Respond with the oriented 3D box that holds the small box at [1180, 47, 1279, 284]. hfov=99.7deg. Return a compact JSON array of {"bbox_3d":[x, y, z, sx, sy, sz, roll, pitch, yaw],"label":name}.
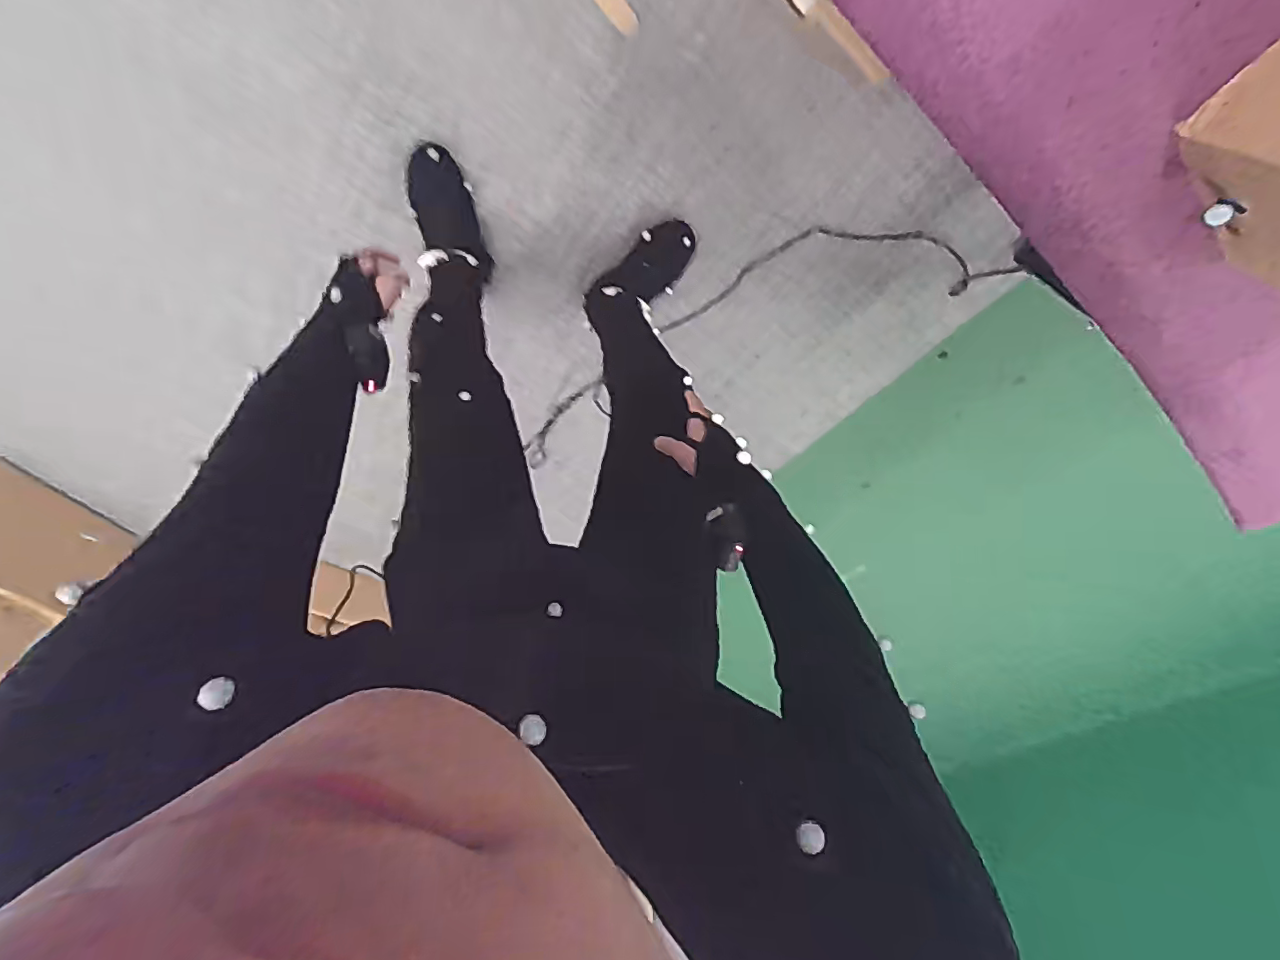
[{"bbox_3d":[0.509,-0.216,0.328,0.168,0.176,0.179,29,126,-26],"label":"small box"}]
